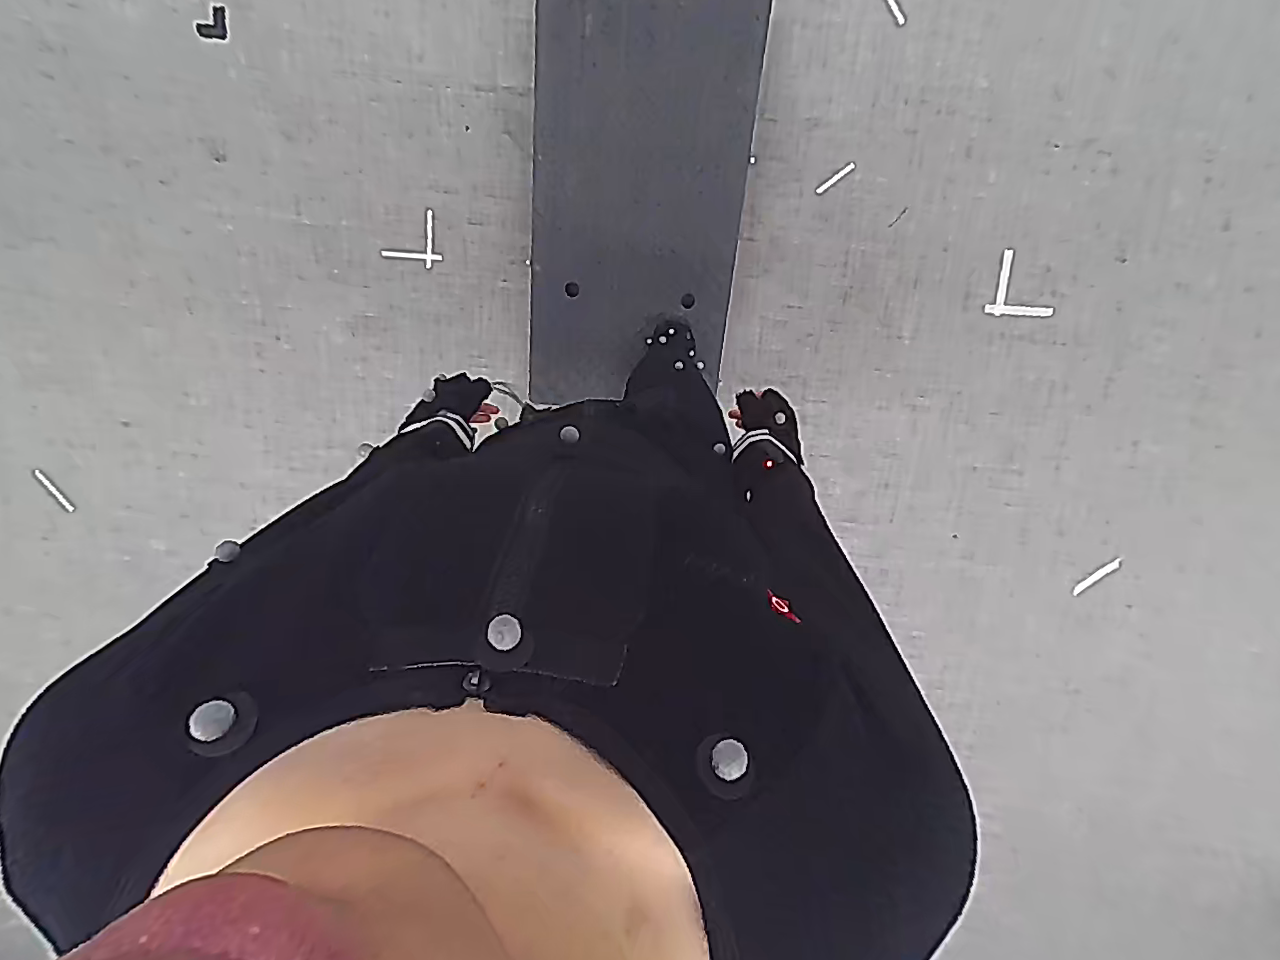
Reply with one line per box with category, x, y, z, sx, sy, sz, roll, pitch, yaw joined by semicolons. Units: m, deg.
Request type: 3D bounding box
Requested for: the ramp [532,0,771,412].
ramp;-0.002;-0.661;1.255;0.509;0.206;0.991;3;102;-2
